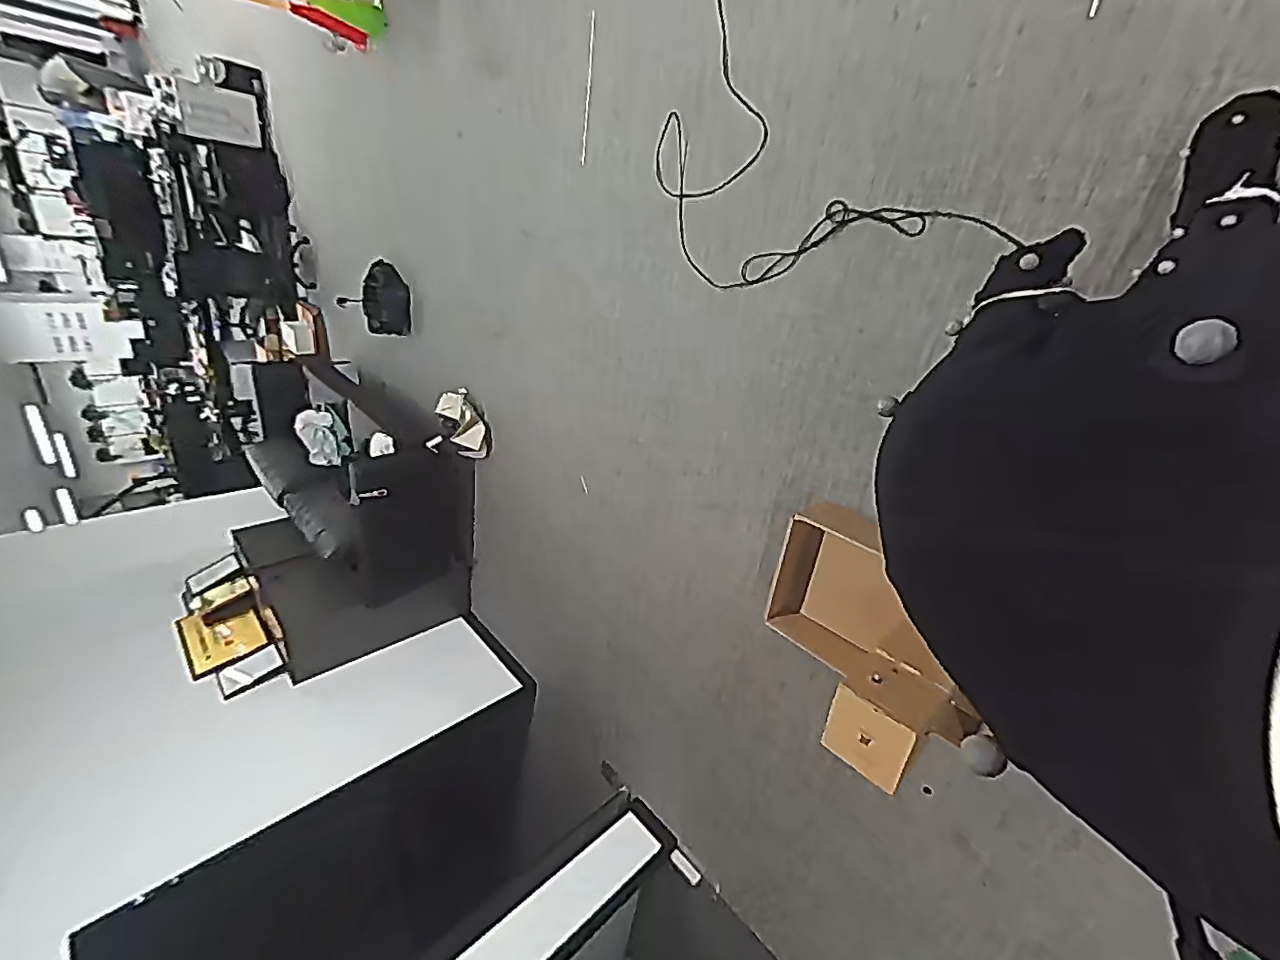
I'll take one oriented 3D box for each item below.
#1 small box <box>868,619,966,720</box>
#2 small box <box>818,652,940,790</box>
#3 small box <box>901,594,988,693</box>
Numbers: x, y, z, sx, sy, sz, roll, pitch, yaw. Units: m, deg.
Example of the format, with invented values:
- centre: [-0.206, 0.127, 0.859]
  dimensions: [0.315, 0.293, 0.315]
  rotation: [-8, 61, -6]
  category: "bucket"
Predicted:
- centre: [0.633, 0.463, 1.270]
  dimensions: [0.168, 0.176, 0.179]
  rotation: [30, 123, 39]
  category: "small box"
- centre: [0.516, 0.507, 1.164]
  dimensions: [0.168, 0.176, 0.179]
  rotation: [28, 123, 40]
  category: "small box"
- centre: [0.751, 0.425, 1.375]
  dimensions: [0.168, 0.176, 0.179]
  rotation: [30, 124, 37]
  category: "small box"
